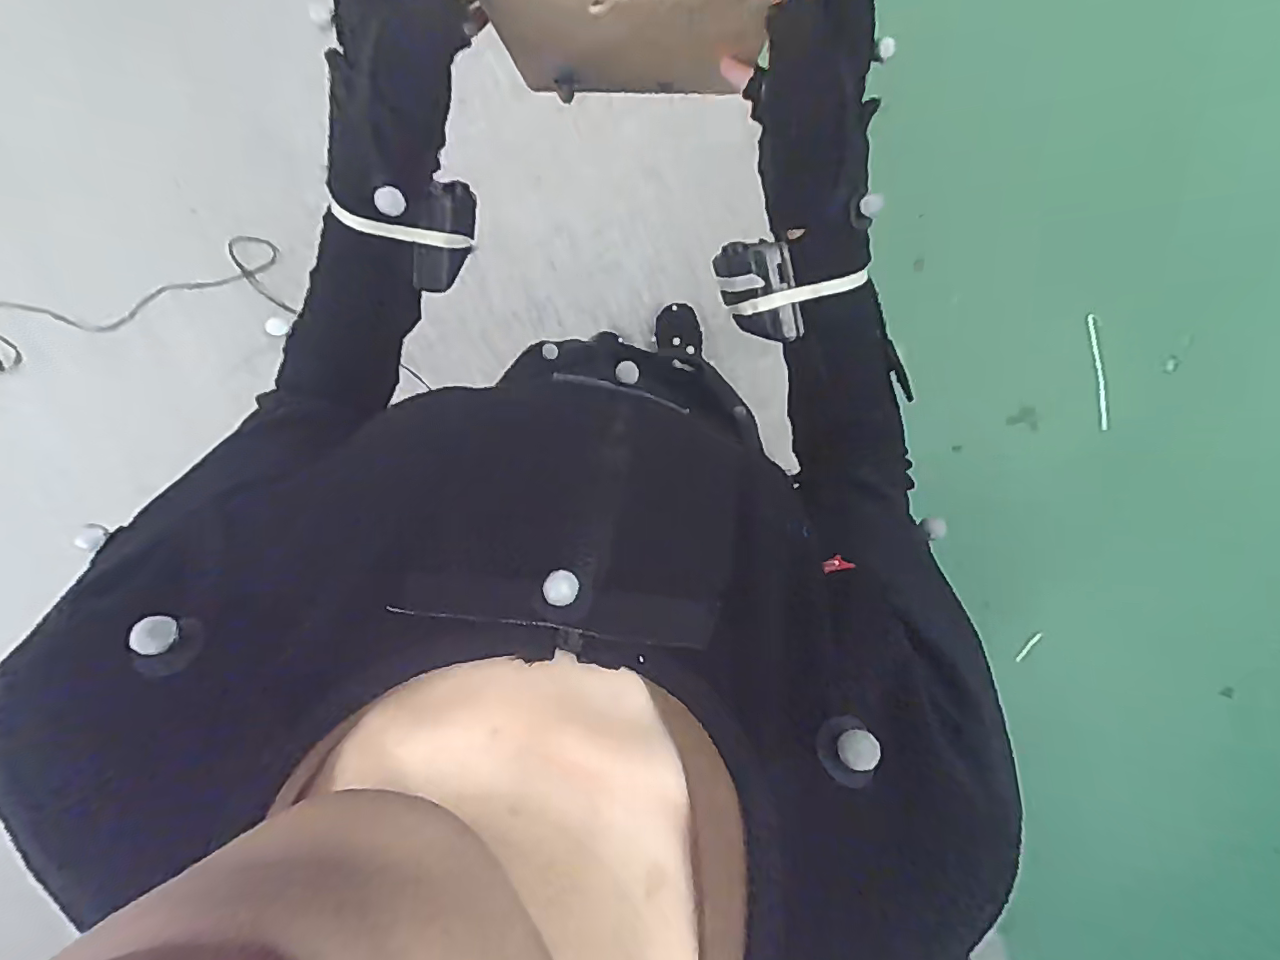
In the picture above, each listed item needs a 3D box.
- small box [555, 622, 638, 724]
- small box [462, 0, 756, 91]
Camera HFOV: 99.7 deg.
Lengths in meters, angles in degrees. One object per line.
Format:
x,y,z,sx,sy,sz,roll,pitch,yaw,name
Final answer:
-0.109,0.516,1.460,0.168,0.176,0.179,-19,103,7,small box
-0.011,-0.353,0.313,0.168,0.176,0.179,1,108,0,small box
